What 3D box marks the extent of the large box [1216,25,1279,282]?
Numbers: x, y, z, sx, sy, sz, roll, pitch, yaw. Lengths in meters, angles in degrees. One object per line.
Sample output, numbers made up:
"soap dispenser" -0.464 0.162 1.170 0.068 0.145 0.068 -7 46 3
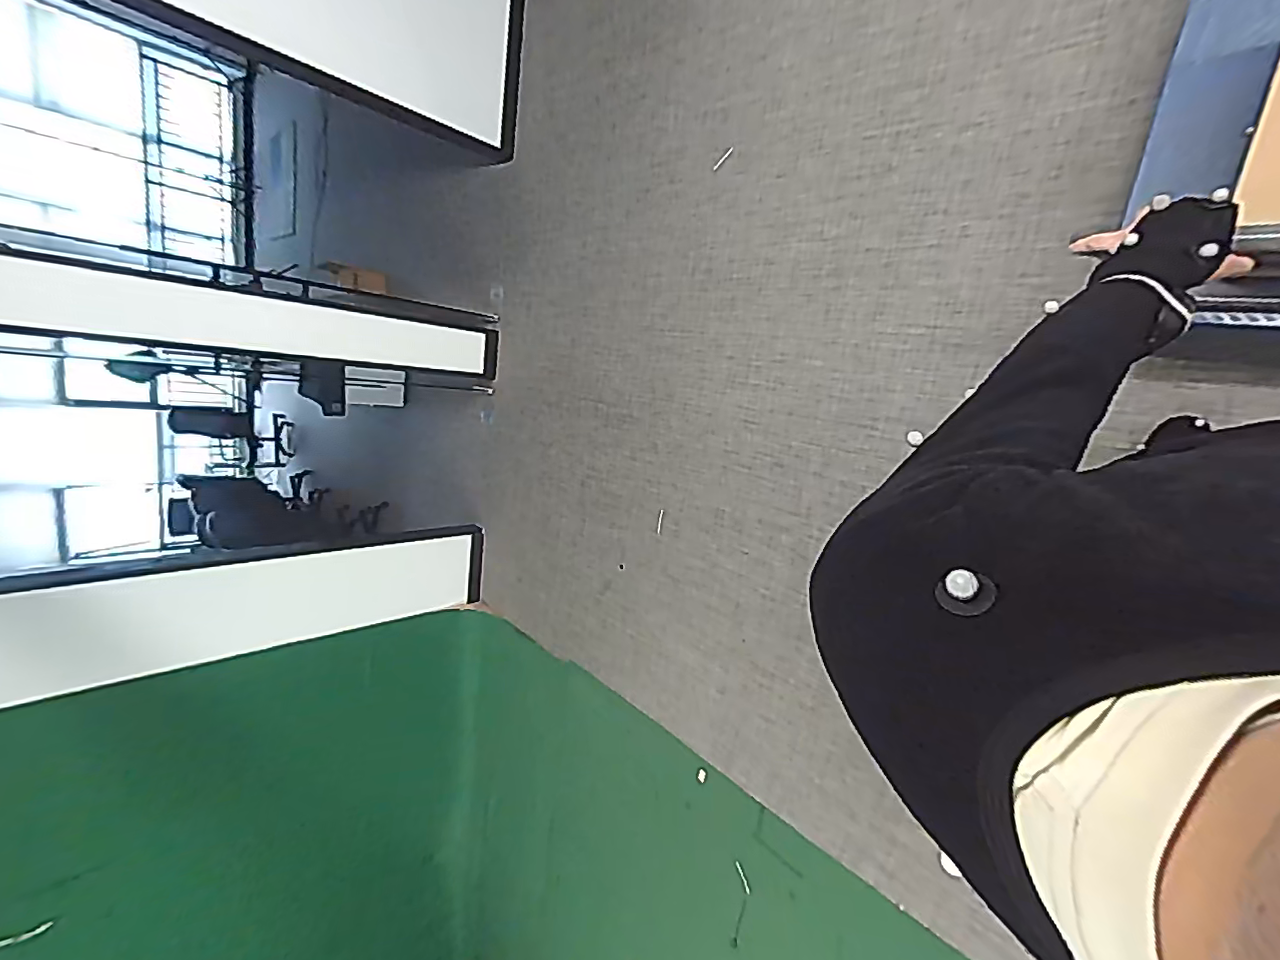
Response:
"large box" 1.108 -0.530 0.779 0.320 0.320 0.408 18 104 42
